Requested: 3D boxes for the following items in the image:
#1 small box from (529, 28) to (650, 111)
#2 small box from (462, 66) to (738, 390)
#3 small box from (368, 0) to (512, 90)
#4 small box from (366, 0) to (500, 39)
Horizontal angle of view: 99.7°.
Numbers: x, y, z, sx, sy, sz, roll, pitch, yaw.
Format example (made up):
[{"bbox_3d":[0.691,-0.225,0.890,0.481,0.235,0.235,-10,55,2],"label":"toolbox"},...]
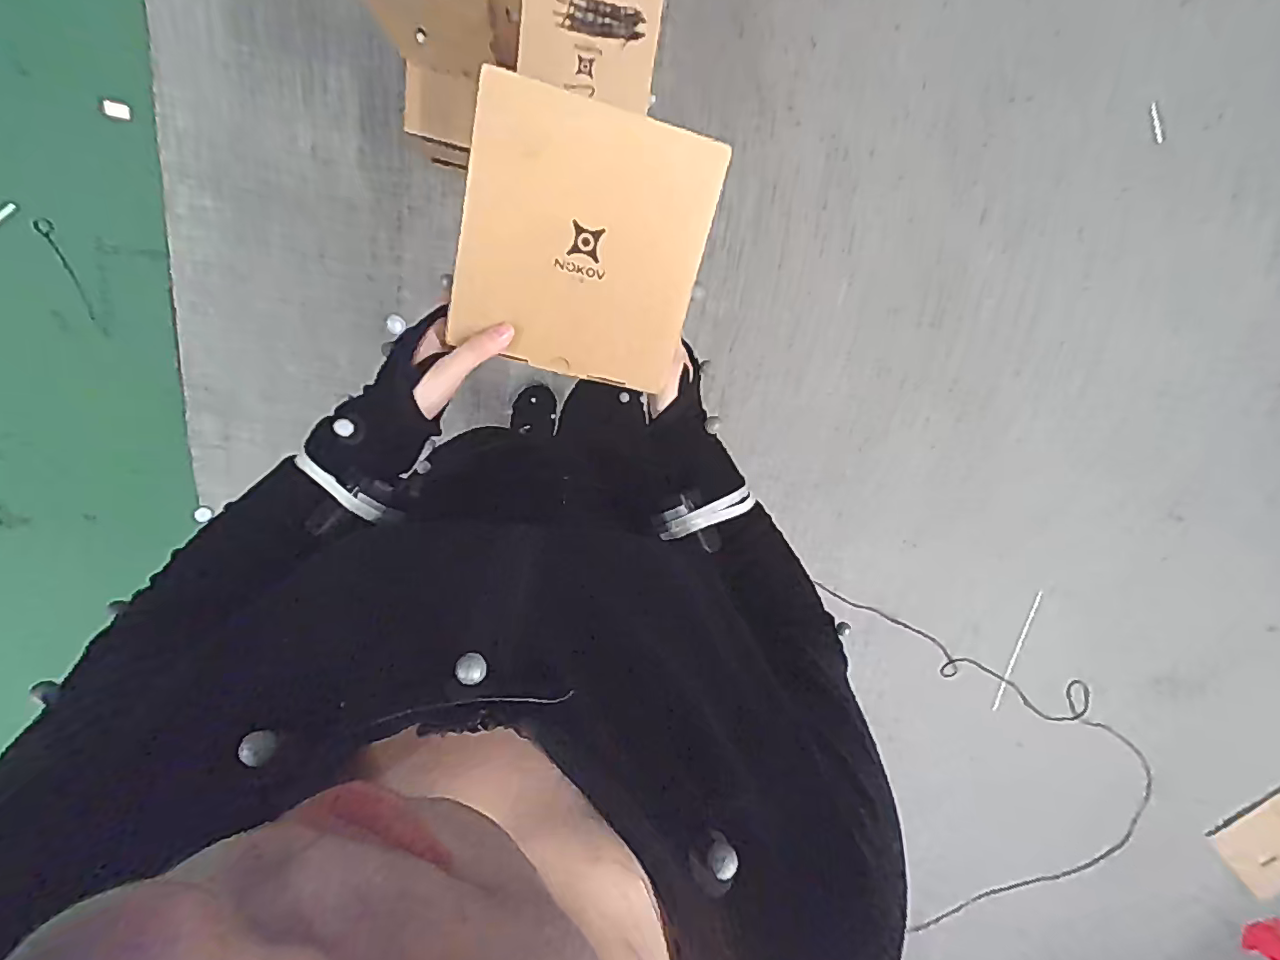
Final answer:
[{"bbox_3d":[-0.091,-0.589,0.887,0.179,0.176,0.168,6,106,-8],"label":"small box"},{"bbox_3d":[-0.040,-0.195,0.449,0.168,0.176,0.179,10,113,-10],"label":"small box"},{"bbox_3d":[-0.292,-0.739,0.817,0.168,0.176,0.179,8,105,-8],"label":"small box"},{"bbox_3d":[-0.270,-0.685,0.661,0.179,0.176,0.168,7,107,-7],"label":"small box"}]
